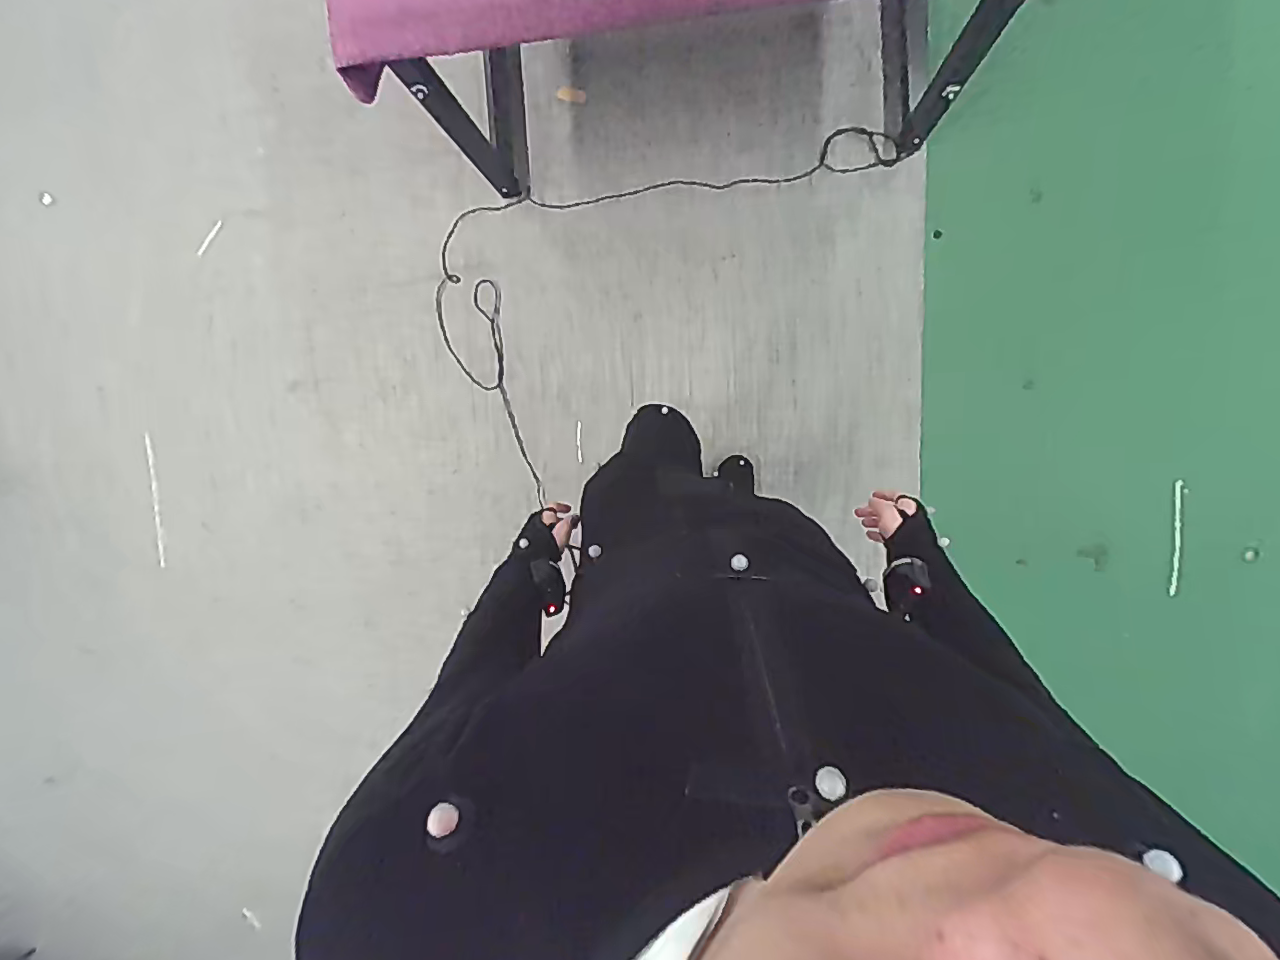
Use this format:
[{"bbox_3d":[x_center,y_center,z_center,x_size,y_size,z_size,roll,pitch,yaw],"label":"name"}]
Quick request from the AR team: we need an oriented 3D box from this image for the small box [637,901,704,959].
[{"bbox_3d":[0.085,1.278,1.440,0.168,0.176,0.179,-2,95,6],"label":"small box"}]
